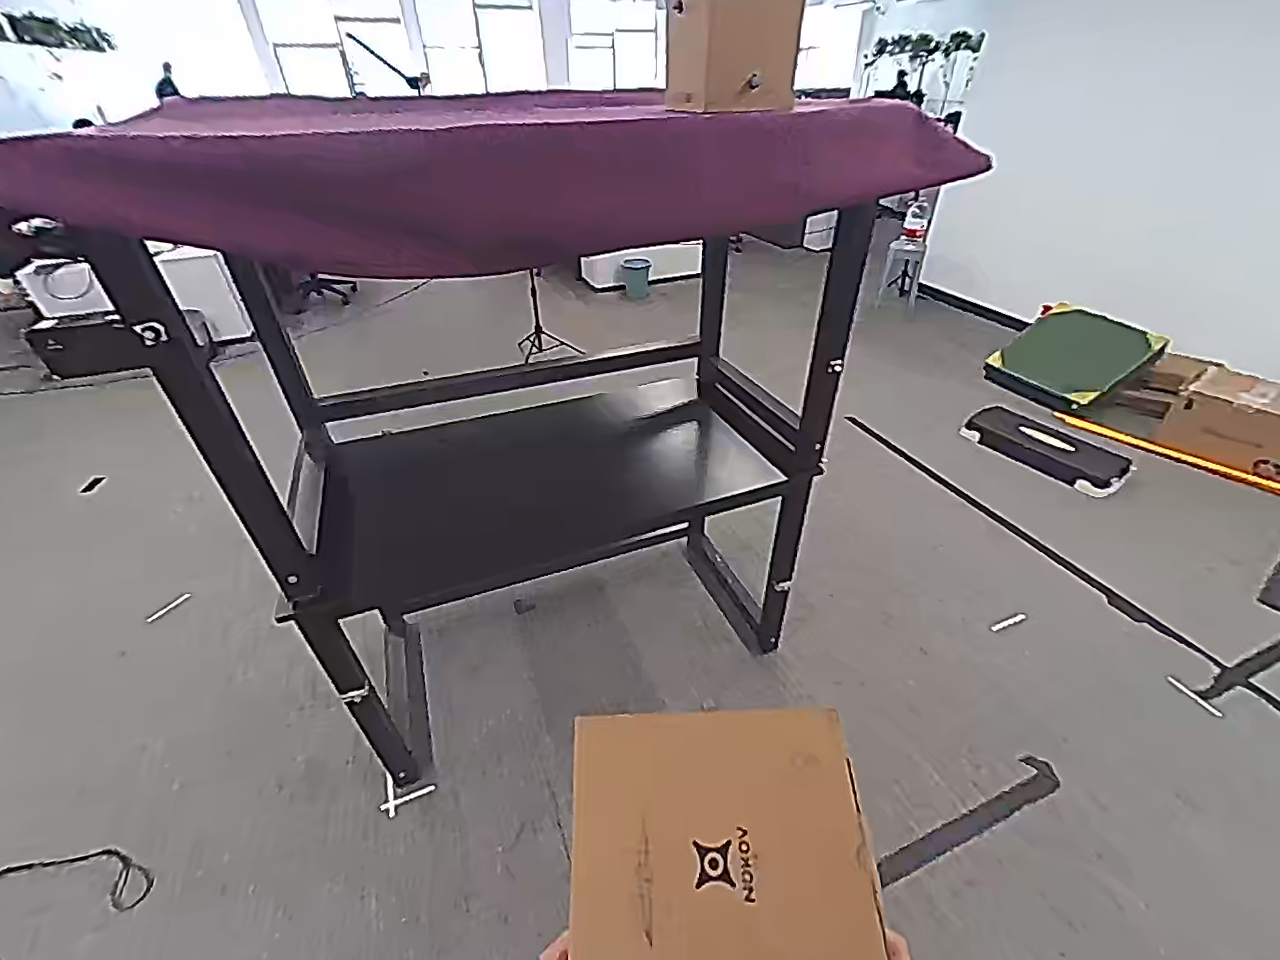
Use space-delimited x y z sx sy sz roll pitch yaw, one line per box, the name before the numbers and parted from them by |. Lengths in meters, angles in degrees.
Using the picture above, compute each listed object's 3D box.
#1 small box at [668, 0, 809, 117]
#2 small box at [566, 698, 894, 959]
small box | 0.157 -0.726 0.919 0.179 0.176 0.168 -14 37 -17
small box | 0.048 0.253 0.378 0.179 0.176 0.168 -2 58 1
